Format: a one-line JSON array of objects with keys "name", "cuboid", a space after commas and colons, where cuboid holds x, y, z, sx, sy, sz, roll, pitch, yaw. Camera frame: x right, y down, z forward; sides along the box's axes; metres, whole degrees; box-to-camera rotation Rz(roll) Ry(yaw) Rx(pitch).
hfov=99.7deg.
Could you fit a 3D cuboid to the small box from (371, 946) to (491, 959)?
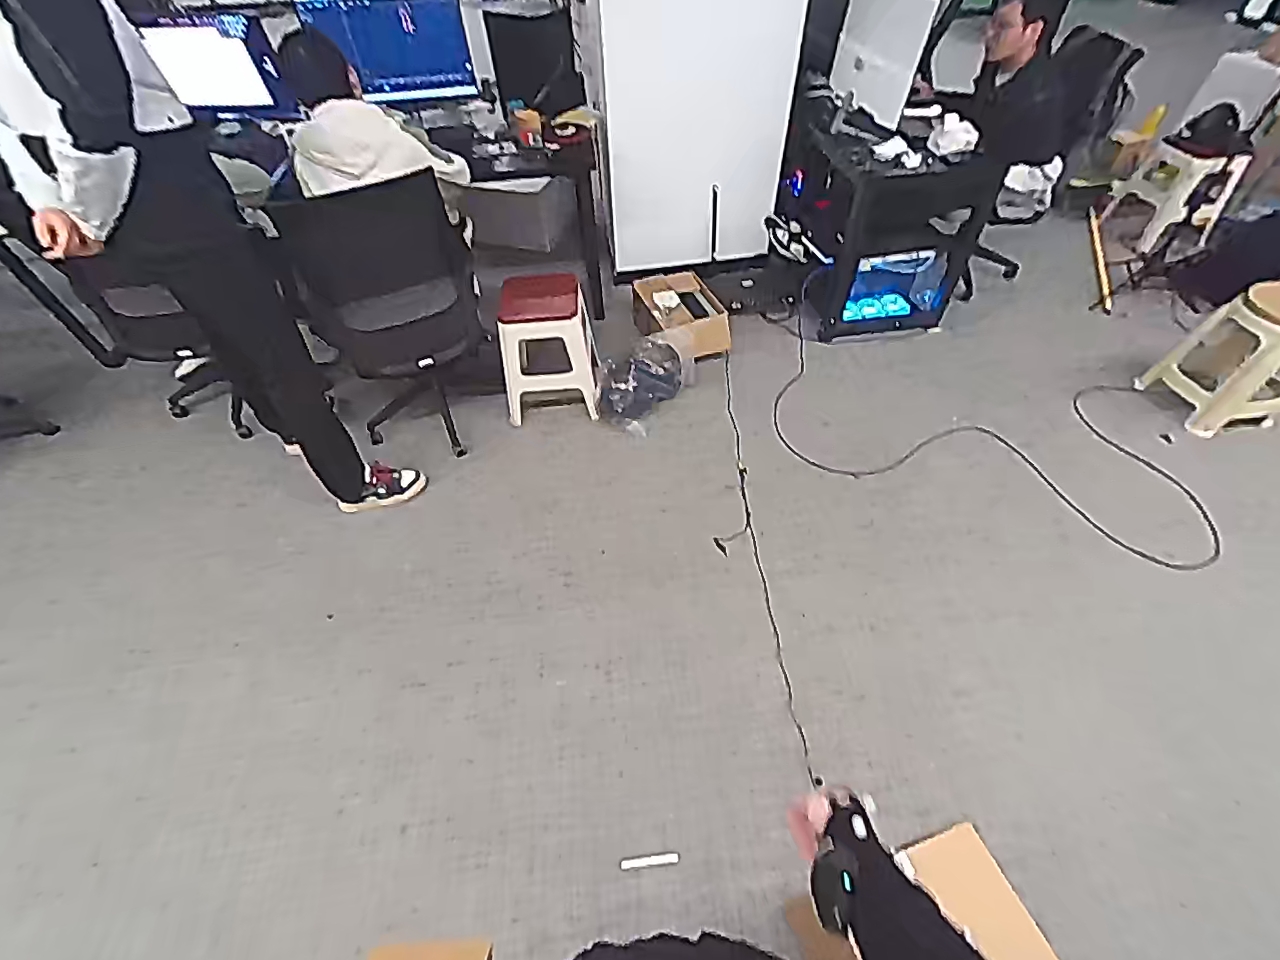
[{"name": "small box", "cuboid": [-0.285, 0.735, 0.669, 0.168, 0.179, 0.176, 0, 86, -2]}]
